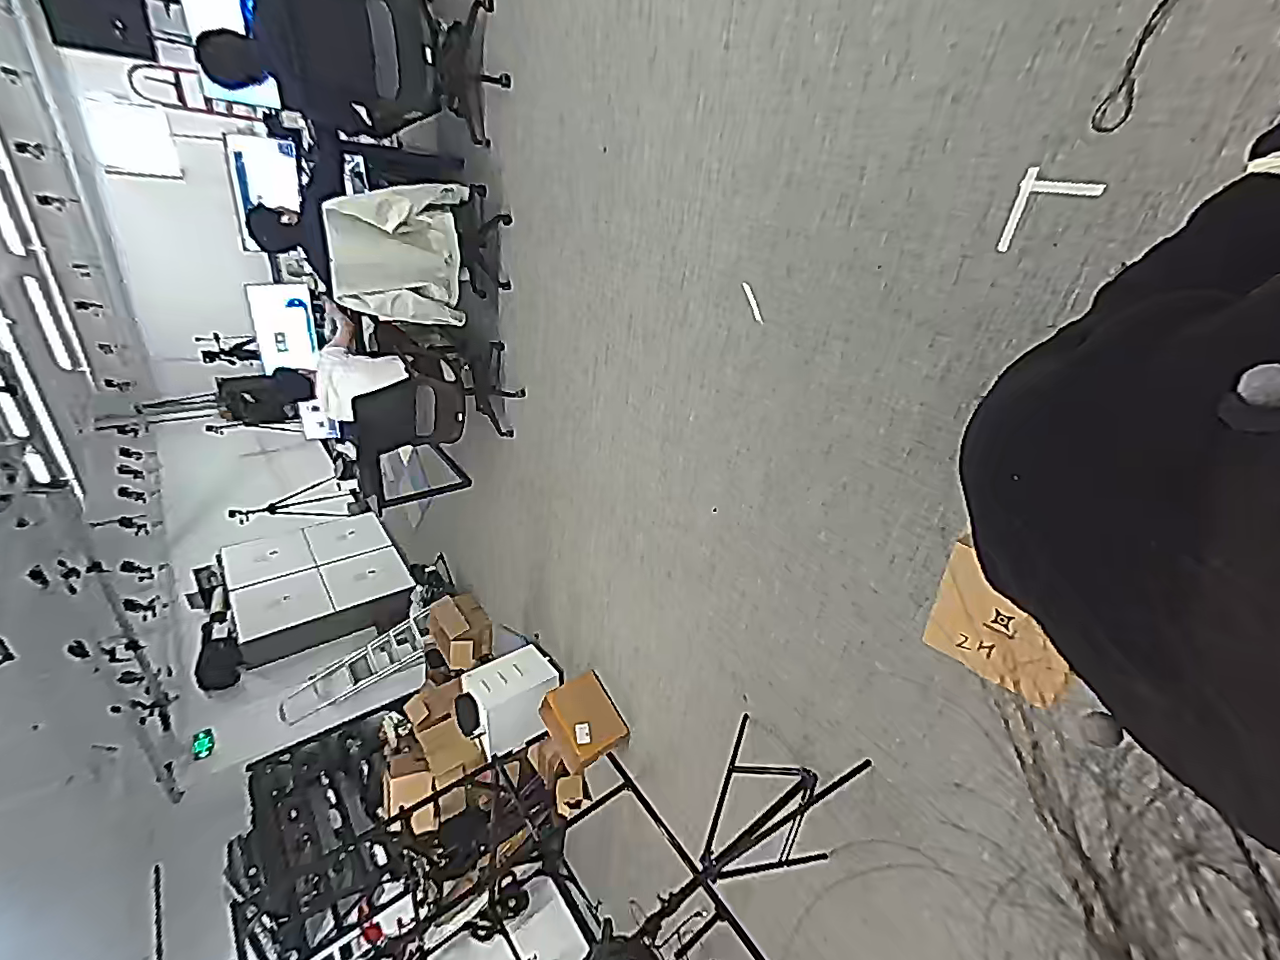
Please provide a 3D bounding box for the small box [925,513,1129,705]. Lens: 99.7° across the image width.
[{"bbox_3d":[0.539,0.166,0.757,0.168,0.176,0.179,30,125,45],"label":"small box"}]
